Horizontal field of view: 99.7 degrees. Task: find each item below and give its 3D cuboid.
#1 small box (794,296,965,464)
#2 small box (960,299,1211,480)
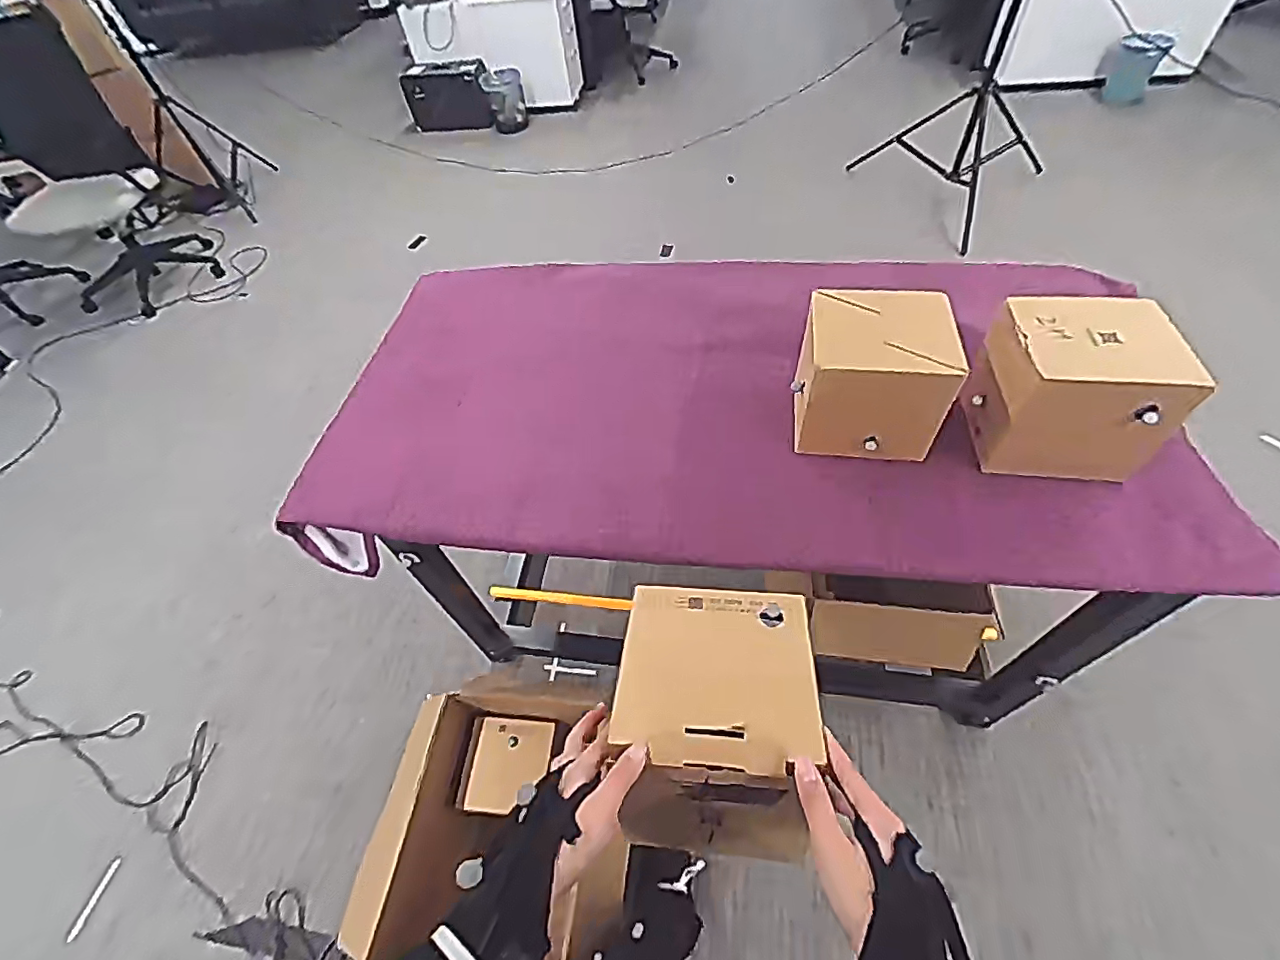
[{"bbox_3d":[0.319,-0.143,0.759,0.179,0.176,0.168,4,52,10],"label":"small box"},{"bbox_3d":[0.559,-0.115,0.712,0.179,0.176,0.168,4,51,10],"label":"small box"}]
